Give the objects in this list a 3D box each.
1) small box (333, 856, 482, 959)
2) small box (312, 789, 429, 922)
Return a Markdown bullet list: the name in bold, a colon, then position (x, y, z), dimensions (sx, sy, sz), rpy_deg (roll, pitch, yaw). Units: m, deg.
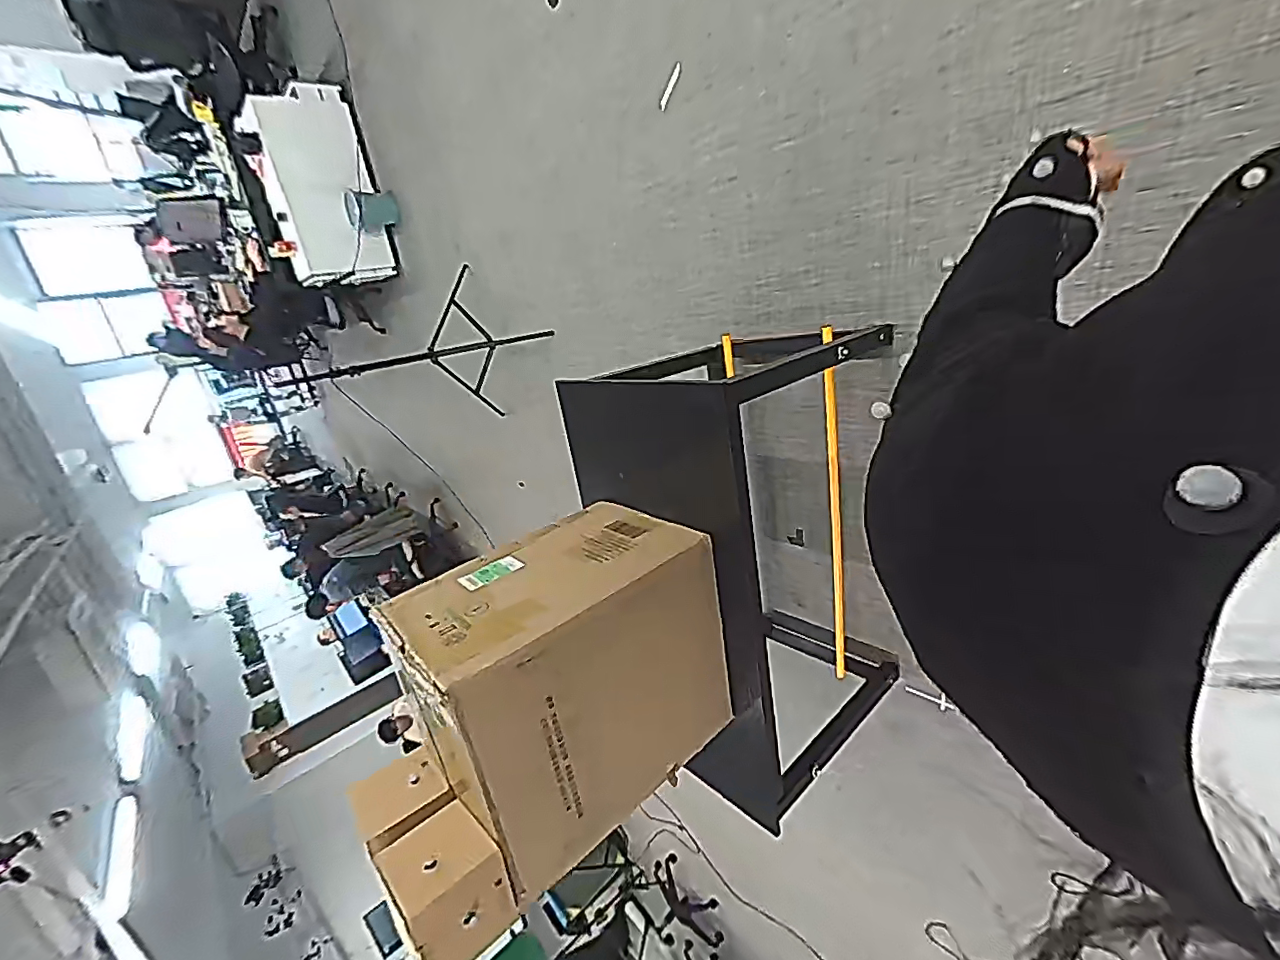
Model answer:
- **small box**: position (-0.379, 0.787, 0.906), dimensions (0.179, 0.176, 0.168), rpy_deg (4, 110, 47)
- **small box**: position (-0.513, 0.765, 1.063), dimensions (0.168, 0.176, 0.179), rpy_deg (15, 120, 49)
